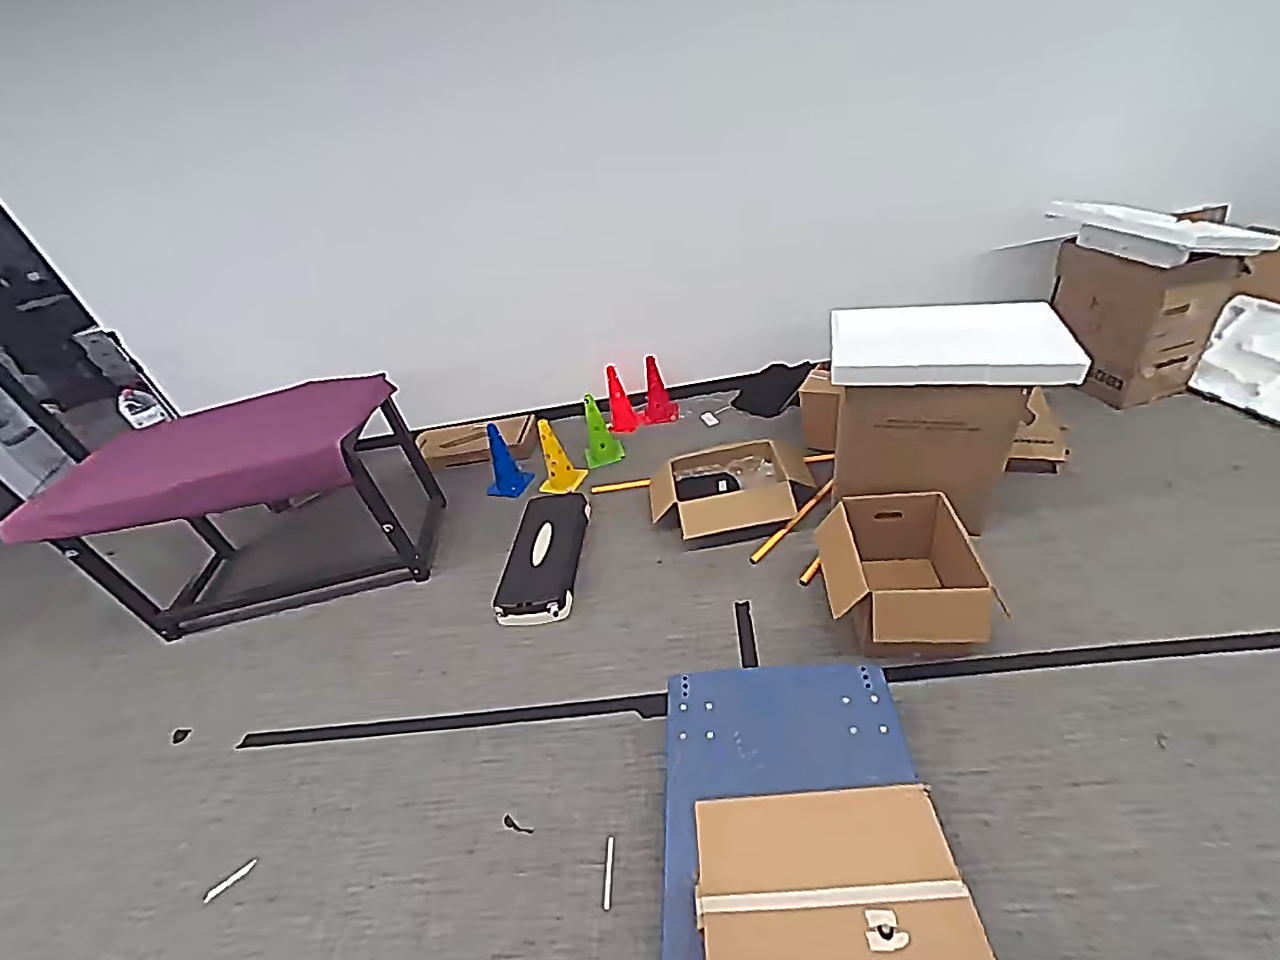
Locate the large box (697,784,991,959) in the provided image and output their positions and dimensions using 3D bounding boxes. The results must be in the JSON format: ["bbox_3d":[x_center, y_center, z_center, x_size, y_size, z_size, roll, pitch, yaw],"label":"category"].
[{"bbox_3d":[0.325,0.775,0.939,0.408,0.320,0.320,-8,37,6],"label":"large box"}]
